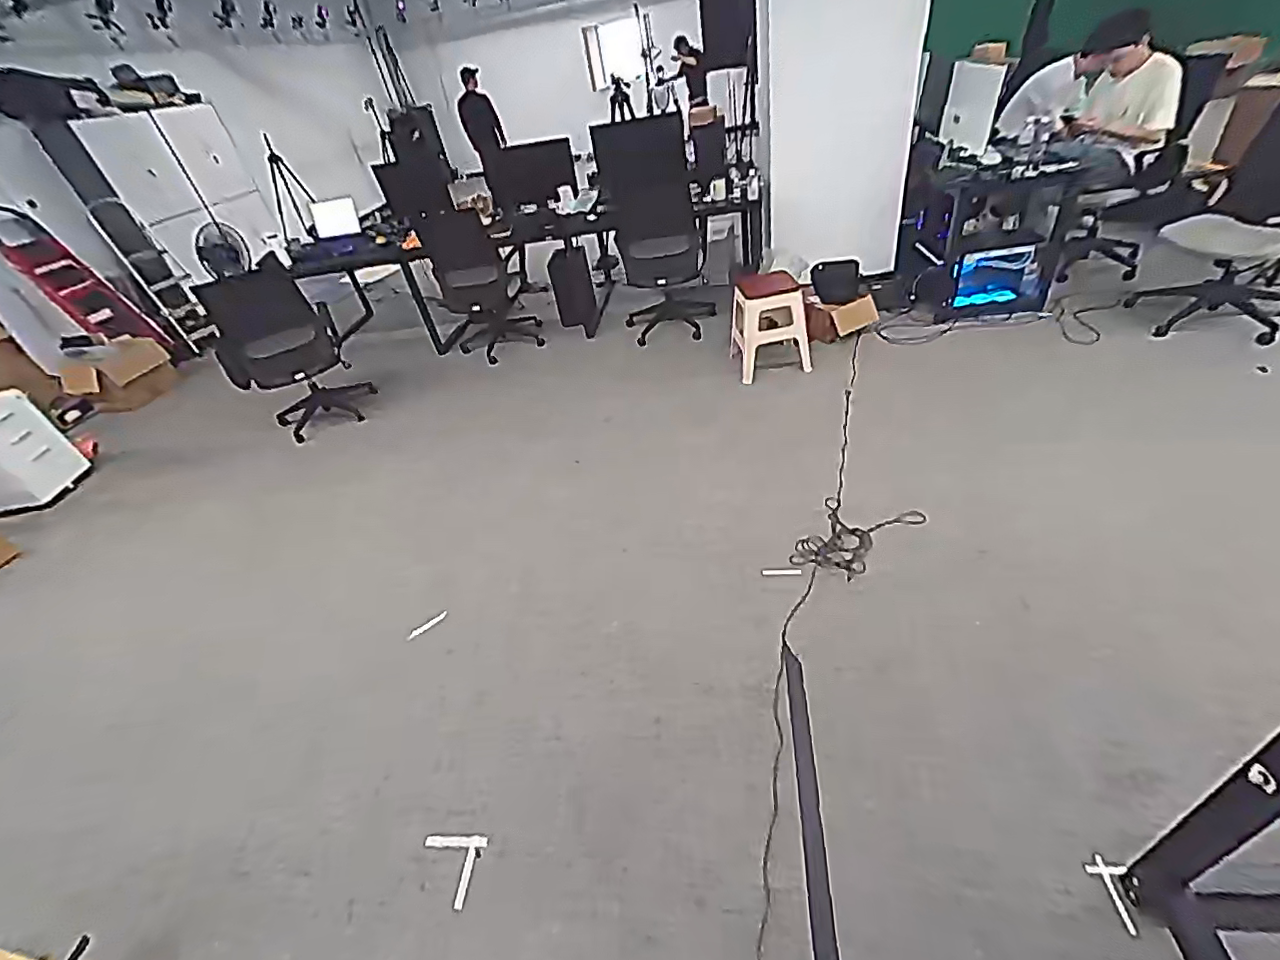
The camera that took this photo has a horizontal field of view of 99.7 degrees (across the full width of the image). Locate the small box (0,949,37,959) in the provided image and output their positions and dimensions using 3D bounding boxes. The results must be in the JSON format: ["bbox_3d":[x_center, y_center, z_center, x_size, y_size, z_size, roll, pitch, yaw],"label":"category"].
[{"bbox_3d":[-1.245,1.076,1.077,0.179,0.176,0.168,0,39,14],"label":"small box"}]
